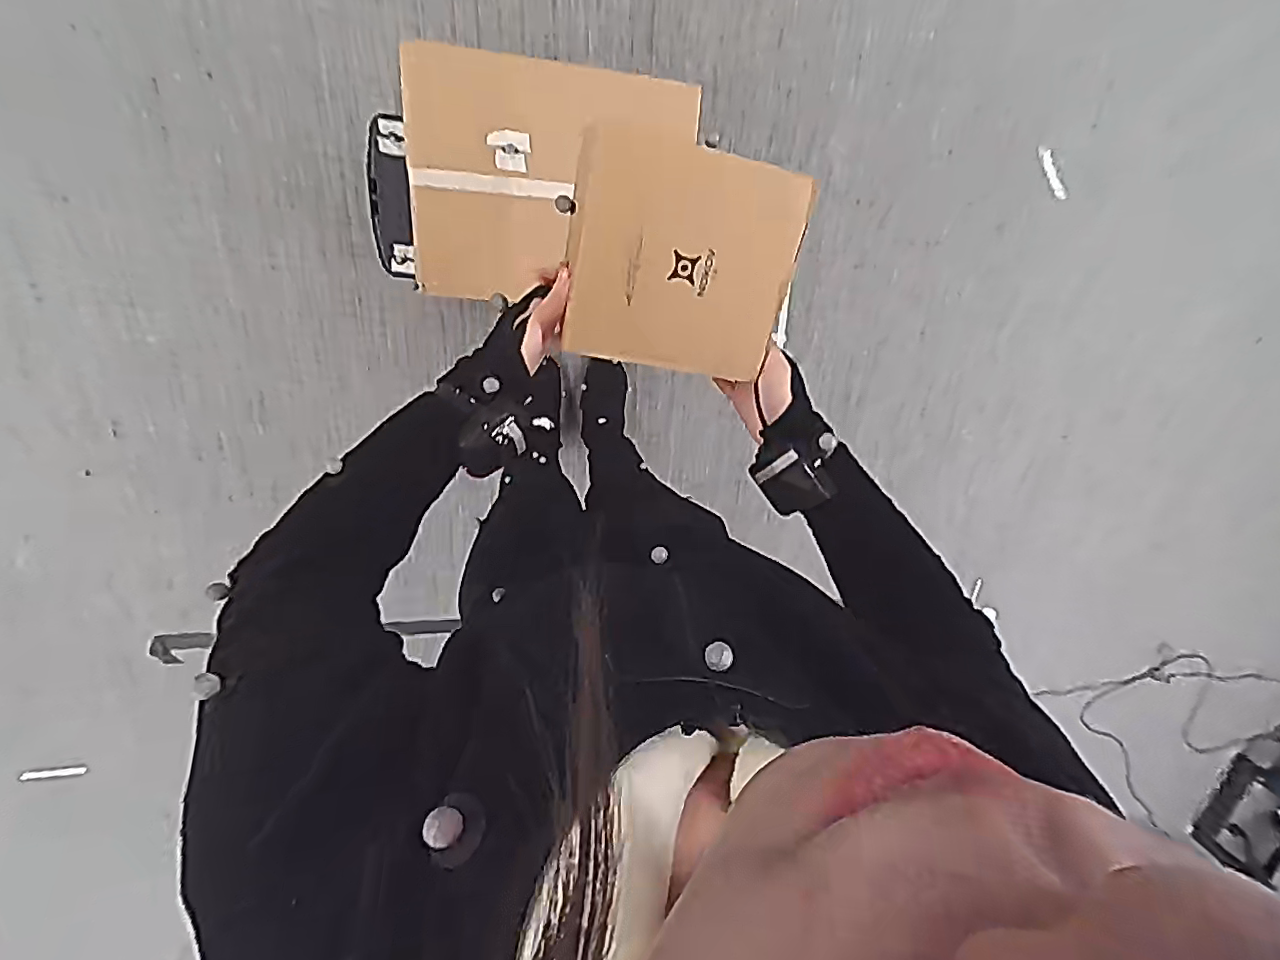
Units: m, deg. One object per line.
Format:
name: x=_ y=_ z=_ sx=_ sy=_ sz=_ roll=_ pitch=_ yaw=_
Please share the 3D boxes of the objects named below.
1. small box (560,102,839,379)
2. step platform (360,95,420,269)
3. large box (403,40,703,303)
small box: x=0.031 y=-0.206 z=0.474 sx=0.179 sy=0.176 sz=0.168 roll=8 pitch=118 yaw=-15
step platform: x=-0.200 y=-0.547 z=1.125 sx=0.684 sy=0.204 sz=0.286 roll=6 pitch=111 yaw=-13
large box: x=-0.138 y=-0.472 z=0.905 sx=0.408 sy=0.320 sz=0.320 roll=0 pitch=112 yaw=-11
